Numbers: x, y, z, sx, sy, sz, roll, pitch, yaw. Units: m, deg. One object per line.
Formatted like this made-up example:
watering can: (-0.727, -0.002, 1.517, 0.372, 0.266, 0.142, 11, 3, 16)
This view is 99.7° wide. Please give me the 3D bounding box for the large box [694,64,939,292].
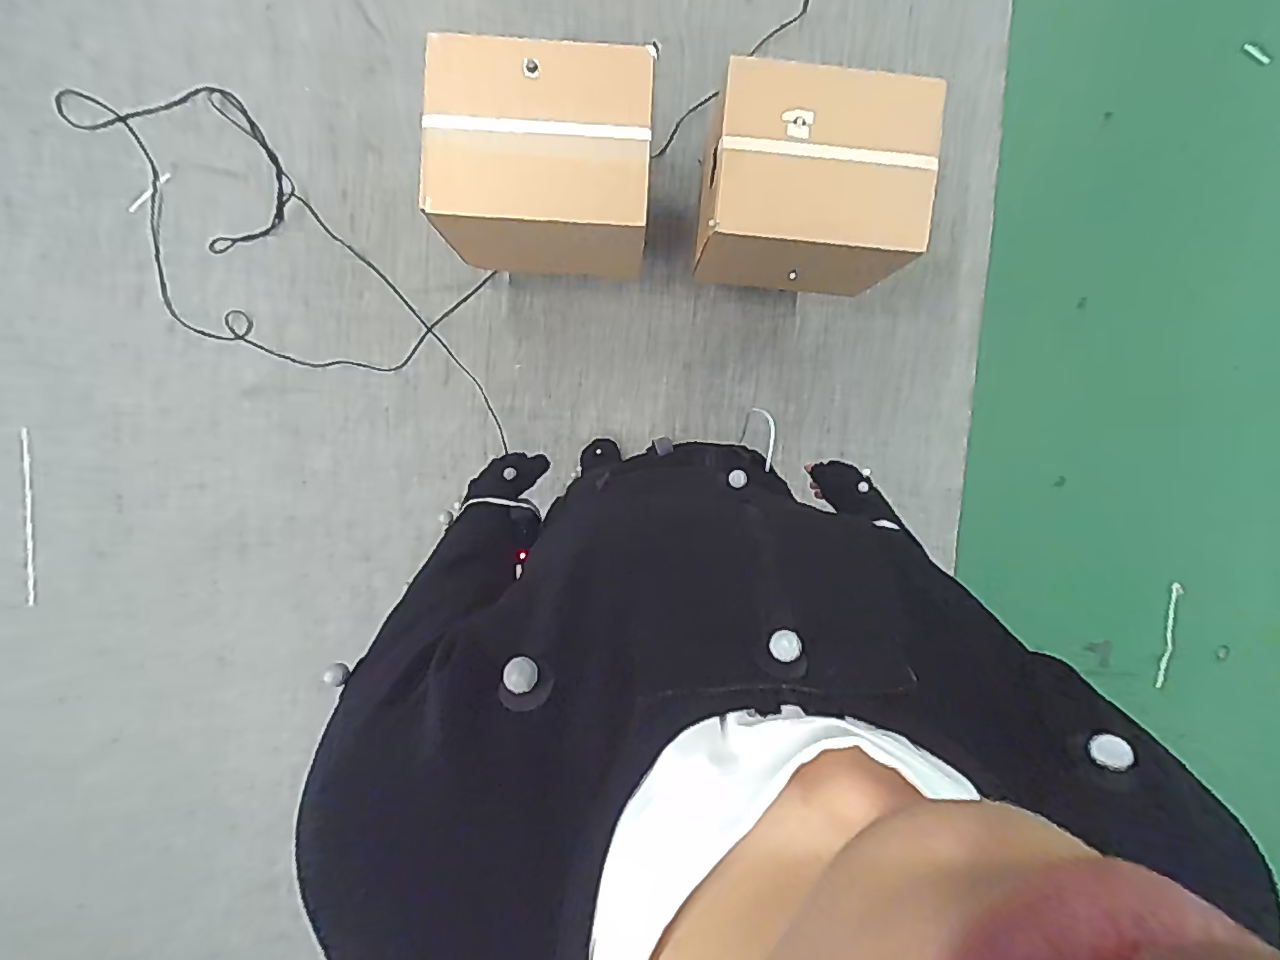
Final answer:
large box: (0.343, -0.608, 1.152, 0.408, 0.320, 0.320, 5, 94, -2)
